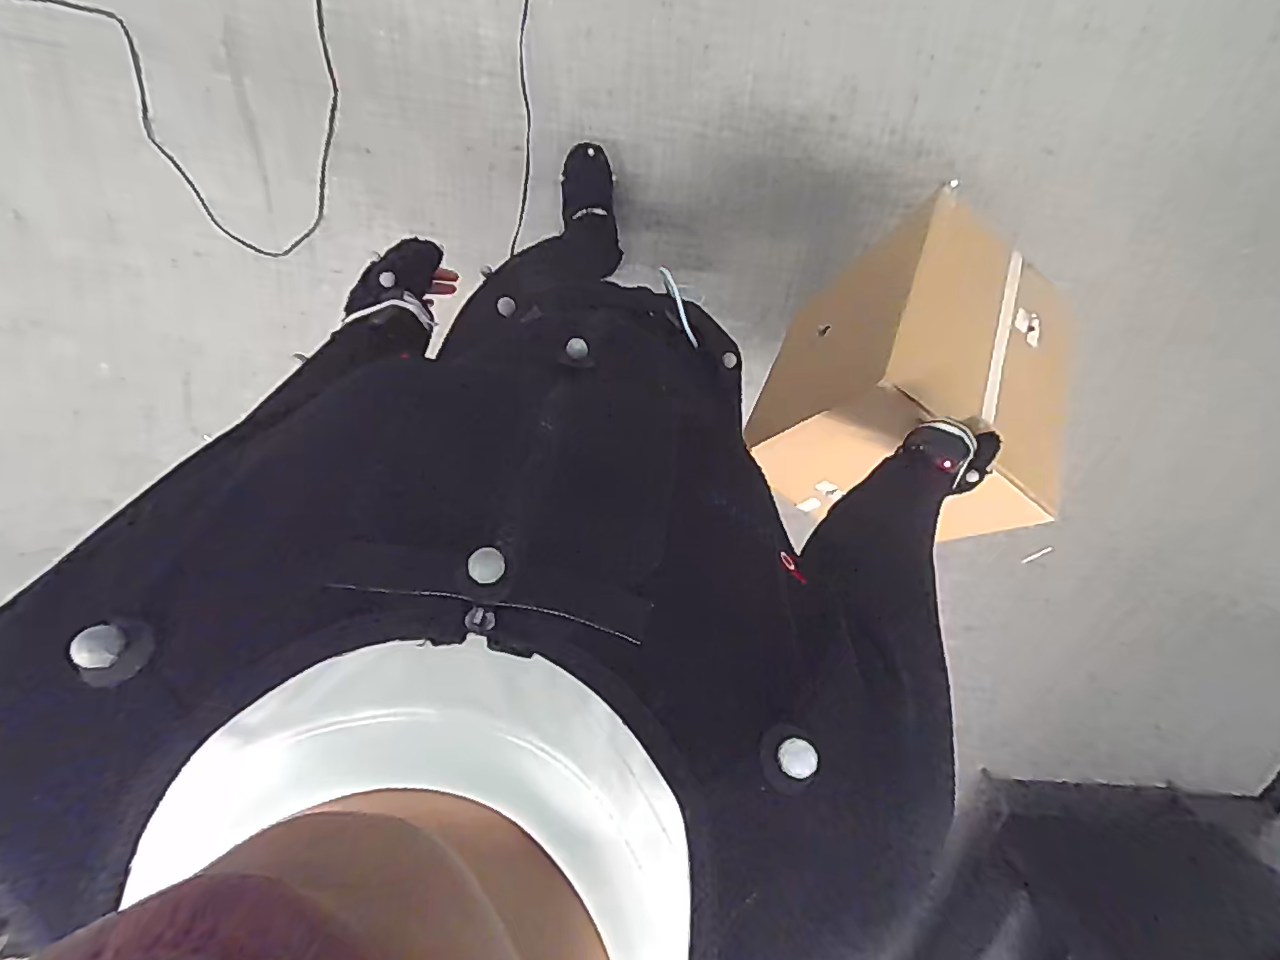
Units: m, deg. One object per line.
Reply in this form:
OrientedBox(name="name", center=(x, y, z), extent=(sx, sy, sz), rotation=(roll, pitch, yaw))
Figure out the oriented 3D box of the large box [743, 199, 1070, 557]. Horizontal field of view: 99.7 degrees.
OrientedBox(name="large box", center=(0.425, -0.138, 0.876), extent=(0.320, 0.408, 0.320), rotation=(34, 153, -13))
